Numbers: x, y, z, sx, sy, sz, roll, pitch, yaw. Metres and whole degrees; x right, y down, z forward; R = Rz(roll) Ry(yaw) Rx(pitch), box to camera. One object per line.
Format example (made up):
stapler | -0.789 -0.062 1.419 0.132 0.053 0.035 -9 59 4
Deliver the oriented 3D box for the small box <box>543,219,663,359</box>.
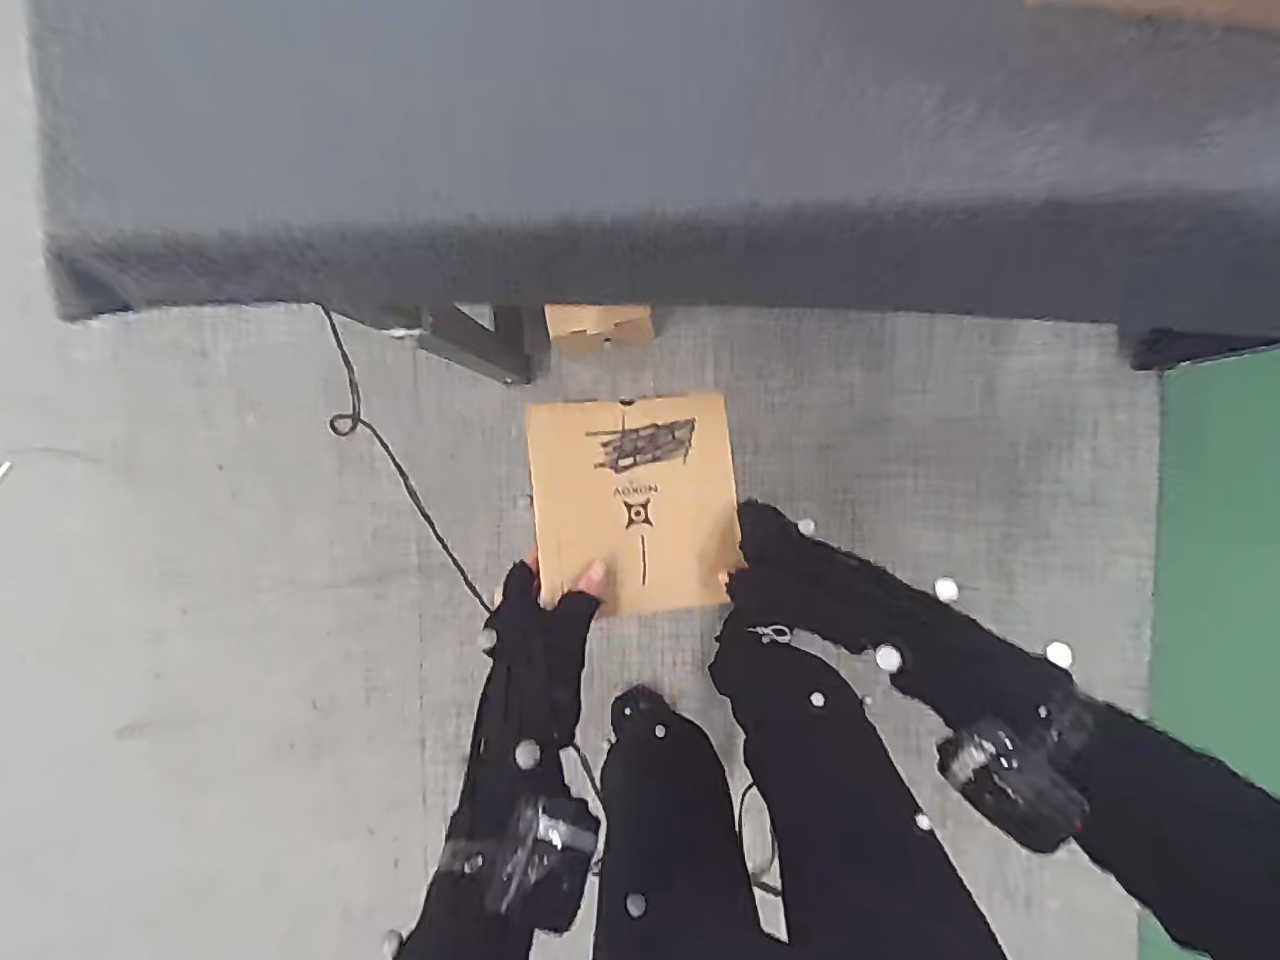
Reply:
small box | -0.054 -0.311 0.923 0.168 0.176 0.179 -10 92 4

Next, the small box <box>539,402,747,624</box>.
small box | -0.010 0.032 0.527 0.168 0.176 0.179 -5 85 -9
